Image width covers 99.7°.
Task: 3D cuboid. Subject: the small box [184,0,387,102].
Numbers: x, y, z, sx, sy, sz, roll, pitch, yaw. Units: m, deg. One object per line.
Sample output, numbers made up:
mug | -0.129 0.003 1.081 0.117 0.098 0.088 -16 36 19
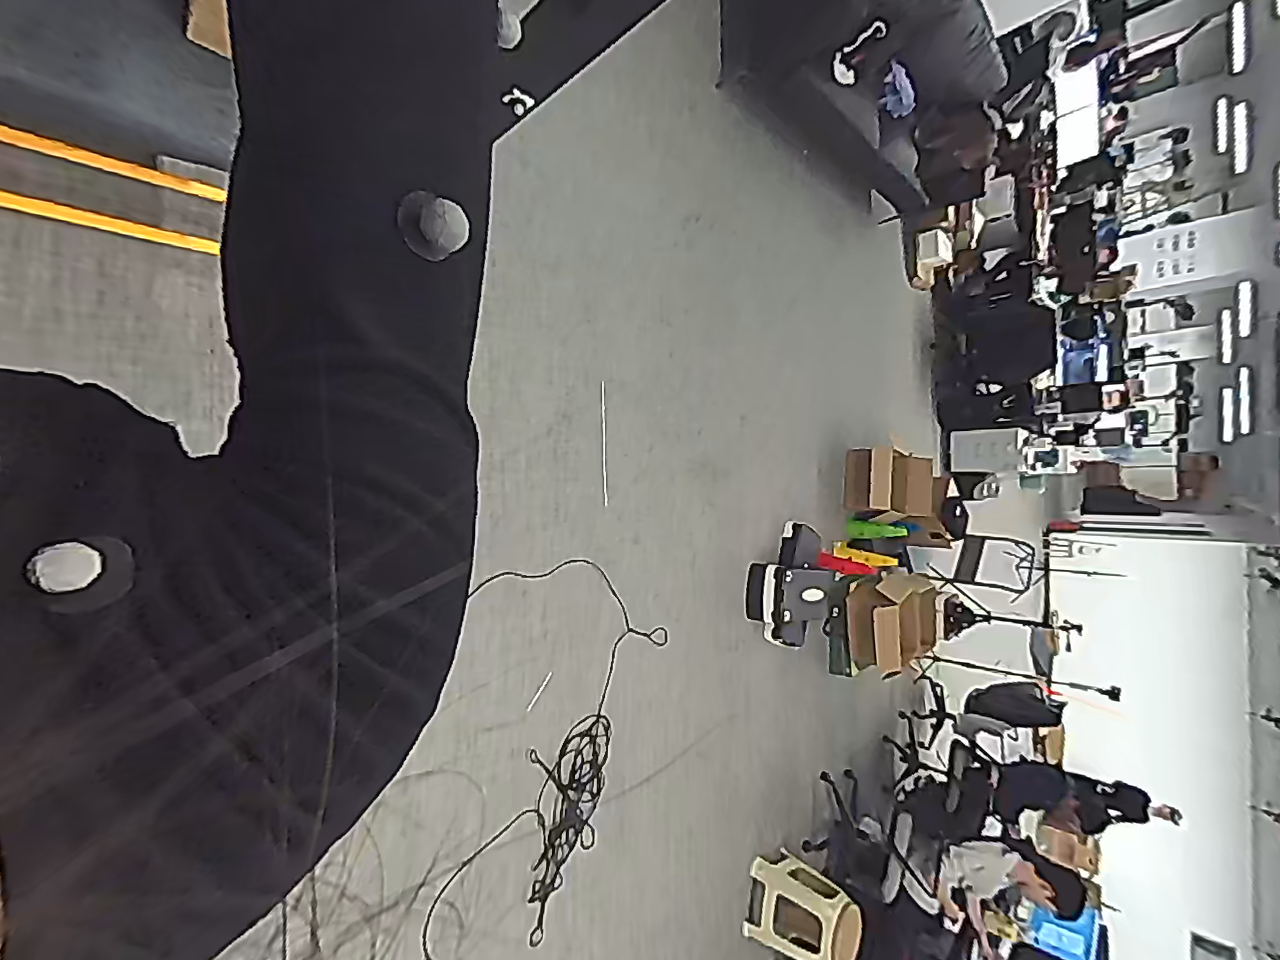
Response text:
small box | -0.404 -0.590 0.622 0.168 0.176 0.179 4 86 -47
